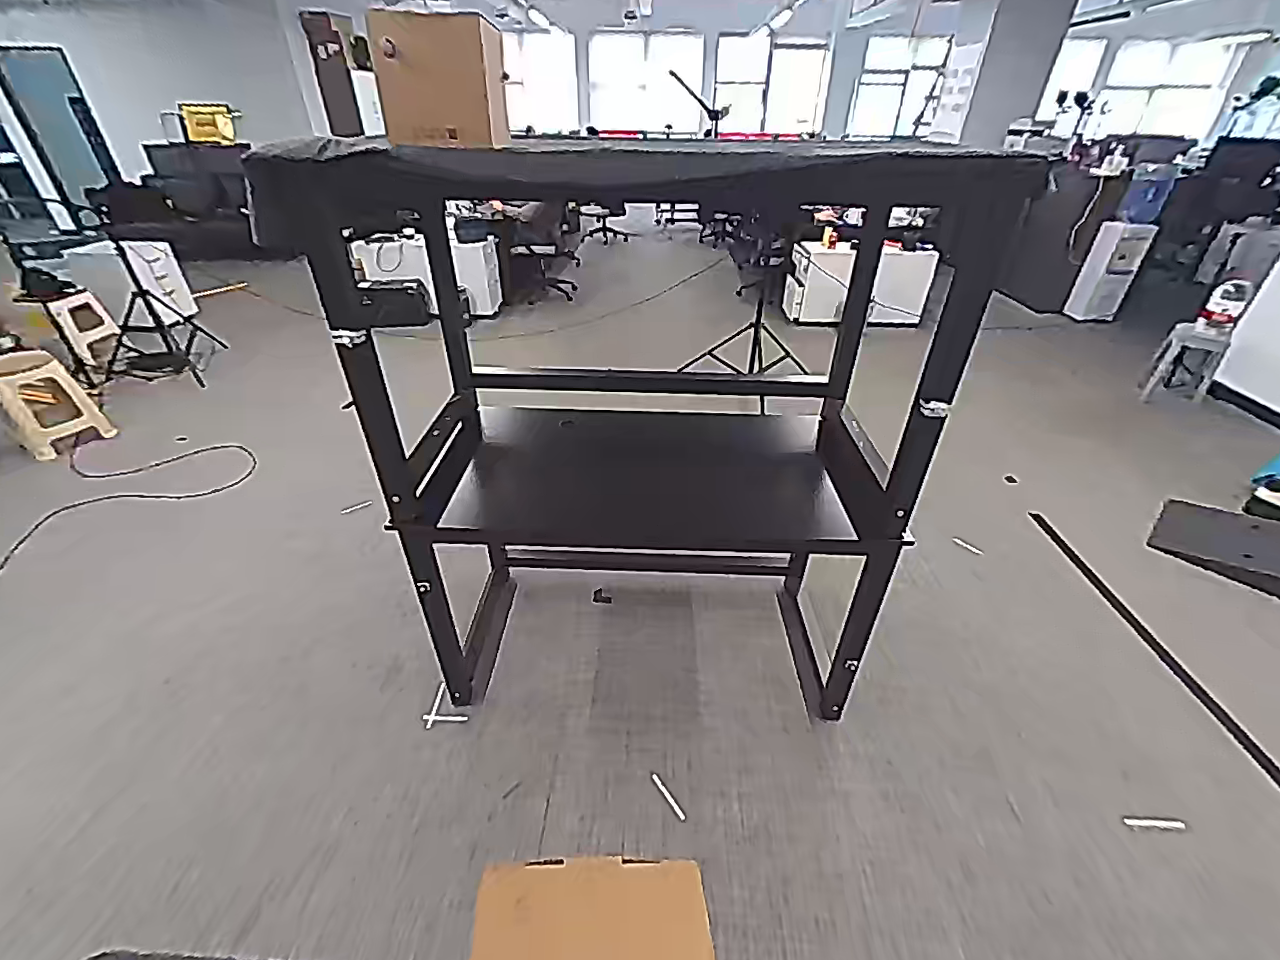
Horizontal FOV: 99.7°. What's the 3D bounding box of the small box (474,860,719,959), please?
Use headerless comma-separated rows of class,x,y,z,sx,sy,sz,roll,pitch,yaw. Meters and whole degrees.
small box,-0.040,0.399,0.372,0.168,0.176,0.179,7,31,-10
